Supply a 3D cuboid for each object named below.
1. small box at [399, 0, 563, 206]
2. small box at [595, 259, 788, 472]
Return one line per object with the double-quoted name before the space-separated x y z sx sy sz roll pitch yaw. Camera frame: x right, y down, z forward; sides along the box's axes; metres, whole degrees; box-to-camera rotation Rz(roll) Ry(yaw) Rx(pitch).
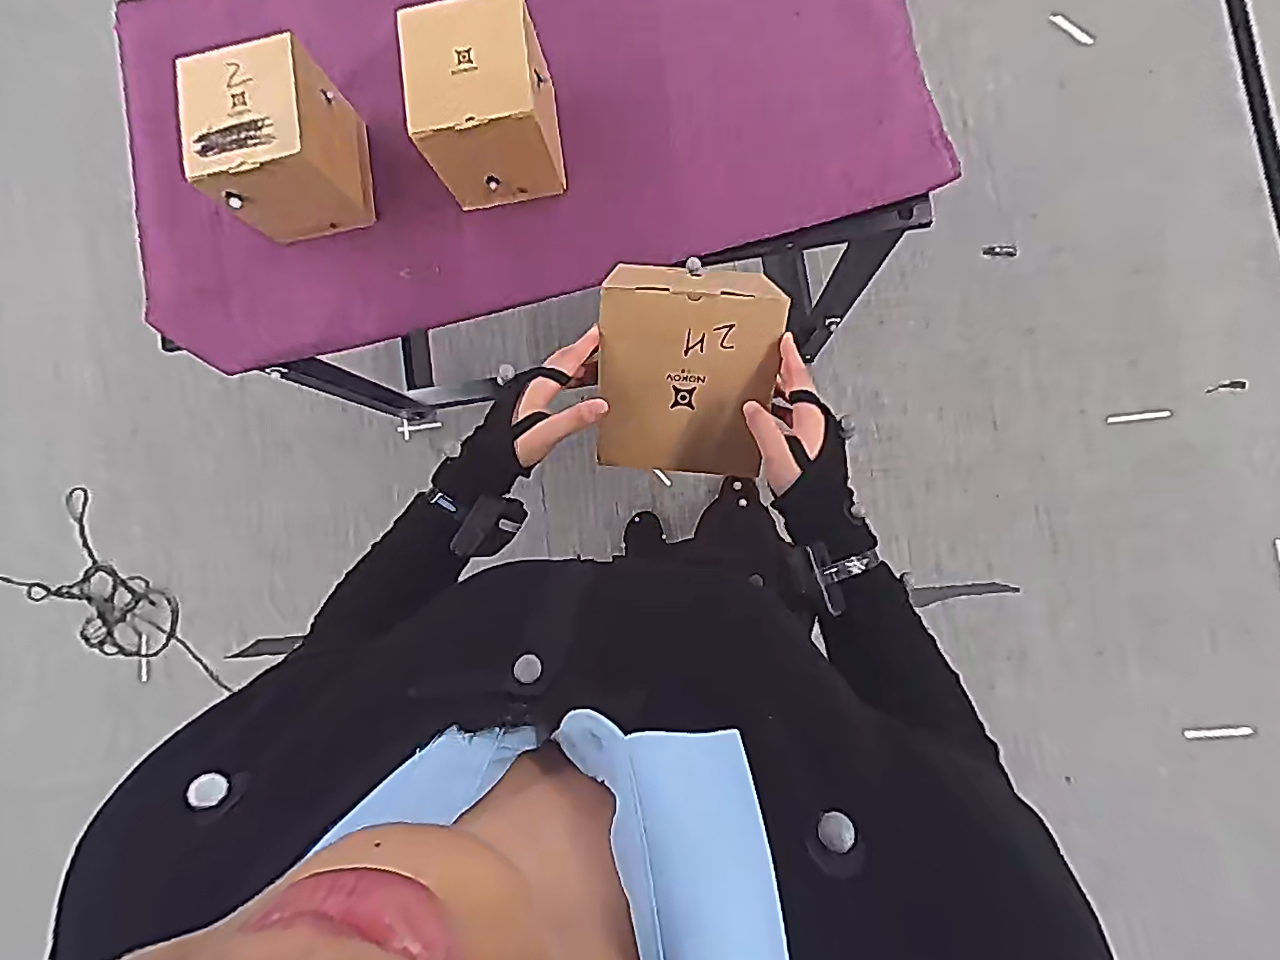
"small box" -0.213 -0.523 0.759 0.168 0.176 0.179 -8 85 5
"small box" 0.047 -0.128 0.572 0.168 0.176 0.179 5 117 2
